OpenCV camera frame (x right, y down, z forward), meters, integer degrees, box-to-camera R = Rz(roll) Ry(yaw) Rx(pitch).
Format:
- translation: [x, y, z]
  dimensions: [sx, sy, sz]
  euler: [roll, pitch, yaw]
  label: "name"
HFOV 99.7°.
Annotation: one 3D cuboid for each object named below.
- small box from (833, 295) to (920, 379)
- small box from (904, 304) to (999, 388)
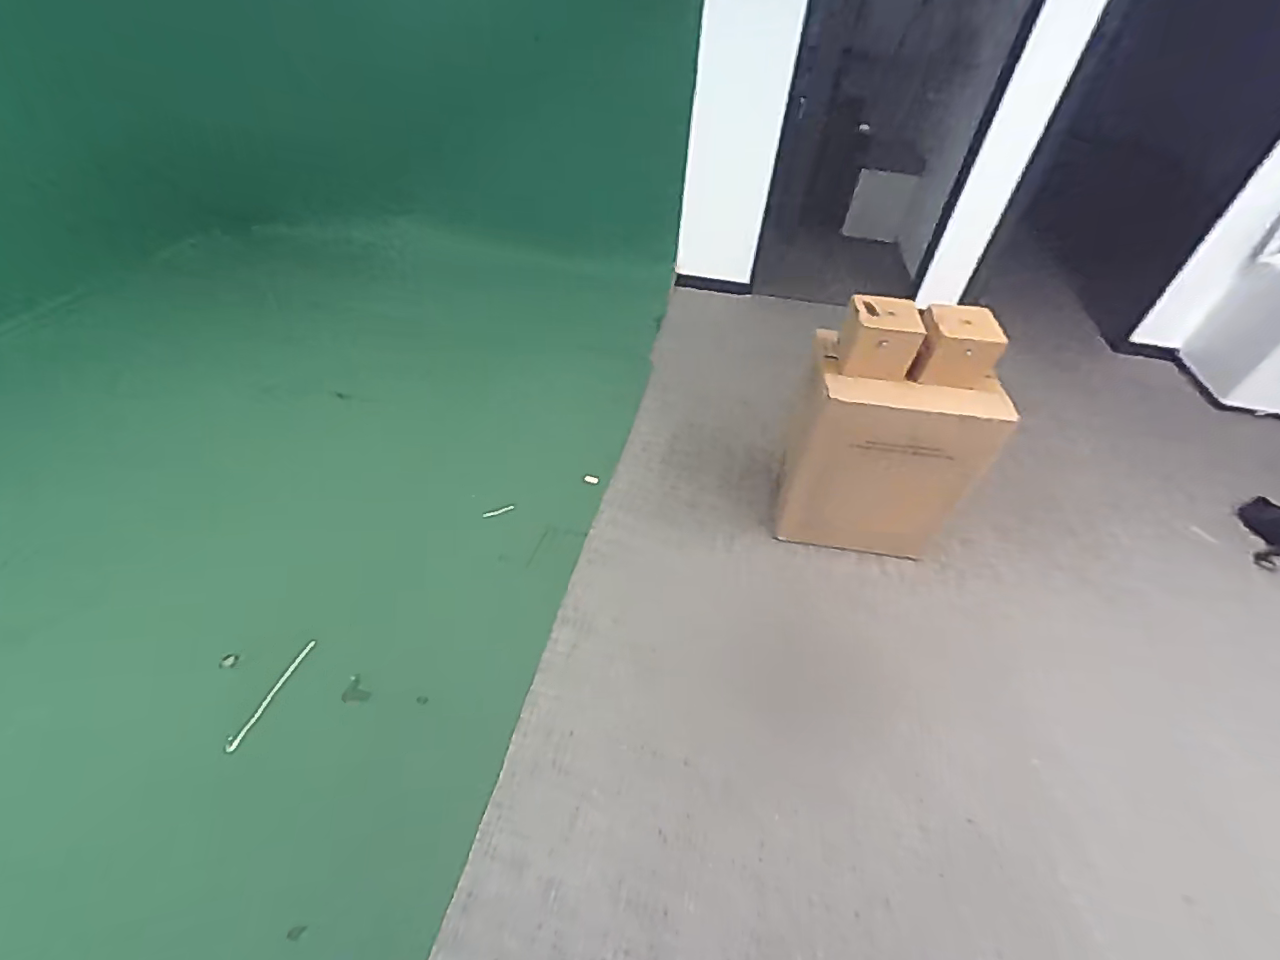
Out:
- translation: [0.679, -0.415, 1.579]
  dimensions: [0.179, 0.176, 0.168]
  euler: [7, 50, 1]
  label: "small box"
- translation: [0.891, -0.388, 1.575]
  dimensions: [0.179, 0.176, 0.168]
  euler: [7, 51, -1]
  label: "small box"
